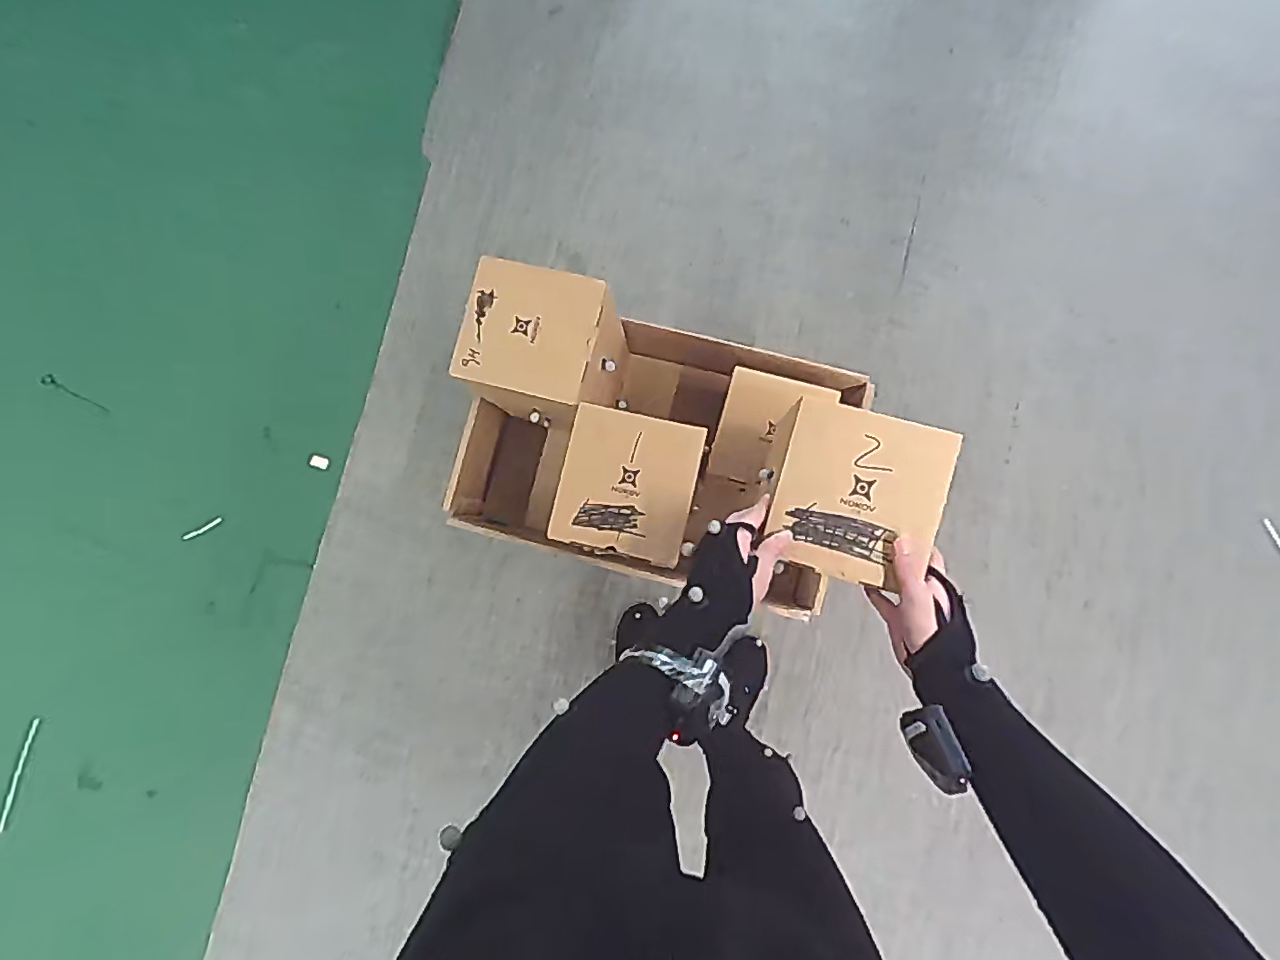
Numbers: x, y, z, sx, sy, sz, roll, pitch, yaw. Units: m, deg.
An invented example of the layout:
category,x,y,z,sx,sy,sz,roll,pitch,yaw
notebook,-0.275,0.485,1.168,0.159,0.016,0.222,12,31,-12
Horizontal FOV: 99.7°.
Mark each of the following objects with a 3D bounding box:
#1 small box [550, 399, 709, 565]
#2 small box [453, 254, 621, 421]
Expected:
category,x,y,z,sx,sy,sz,roll,pitch,yaw
small box,-0.007,0.008,0.738,0.168,0.176,0.179,13,85,5
small box,-0.131,-0.187,0.766,0.179,0.176,0.168,15,87,5
